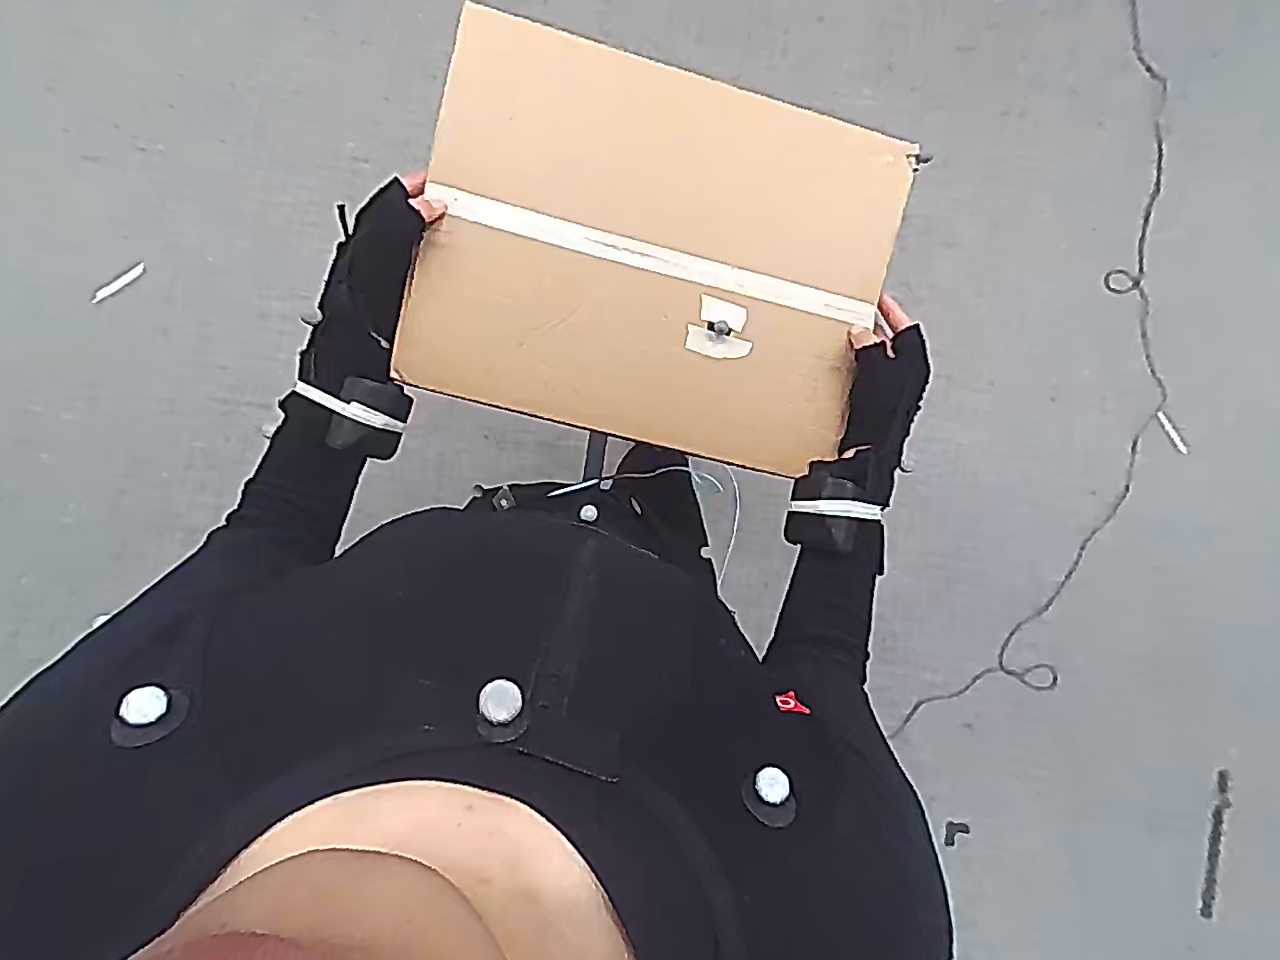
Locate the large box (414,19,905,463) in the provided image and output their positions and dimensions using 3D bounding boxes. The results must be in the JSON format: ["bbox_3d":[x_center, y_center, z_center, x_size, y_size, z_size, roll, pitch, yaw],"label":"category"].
[{"bbox_3d":[0.007,-0.218,0.636,0.408,0.320,0.320,13,95,-7],"label":"large box"}]
